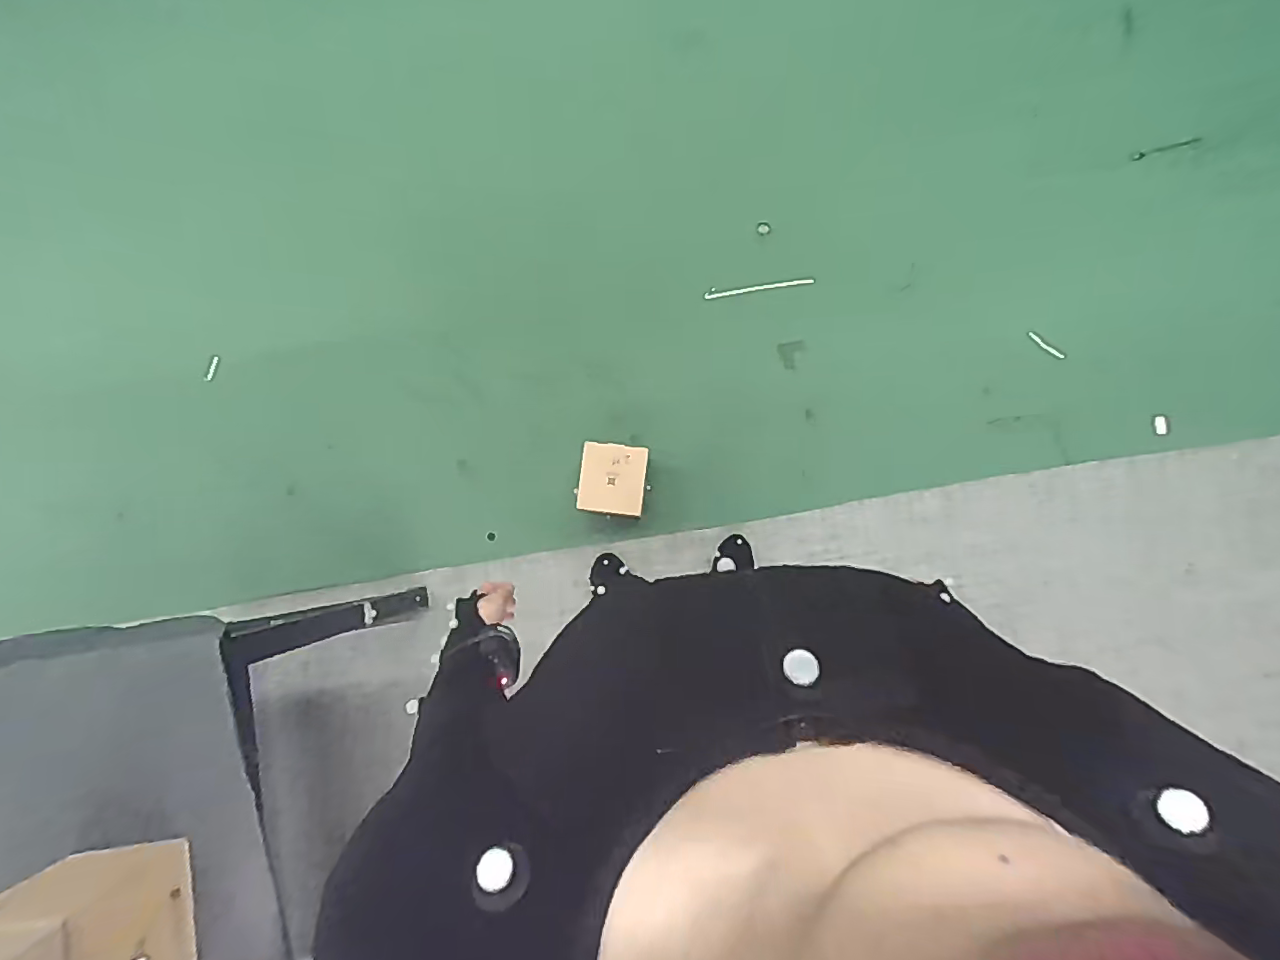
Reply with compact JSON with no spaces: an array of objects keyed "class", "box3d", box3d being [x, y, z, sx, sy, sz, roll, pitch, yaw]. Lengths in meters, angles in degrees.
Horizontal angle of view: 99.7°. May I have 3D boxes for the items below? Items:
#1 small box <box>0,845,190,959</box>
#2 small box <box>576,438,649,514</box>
[{"class":"small box","box3d":[-0.695,0.582,0.659,0.179,0.176,0.168,-10,85,2]},{"class":"small box","box3d":[-0.068,-0.005,1.424,0.168,0.176,0.179,7,85,1]}]
